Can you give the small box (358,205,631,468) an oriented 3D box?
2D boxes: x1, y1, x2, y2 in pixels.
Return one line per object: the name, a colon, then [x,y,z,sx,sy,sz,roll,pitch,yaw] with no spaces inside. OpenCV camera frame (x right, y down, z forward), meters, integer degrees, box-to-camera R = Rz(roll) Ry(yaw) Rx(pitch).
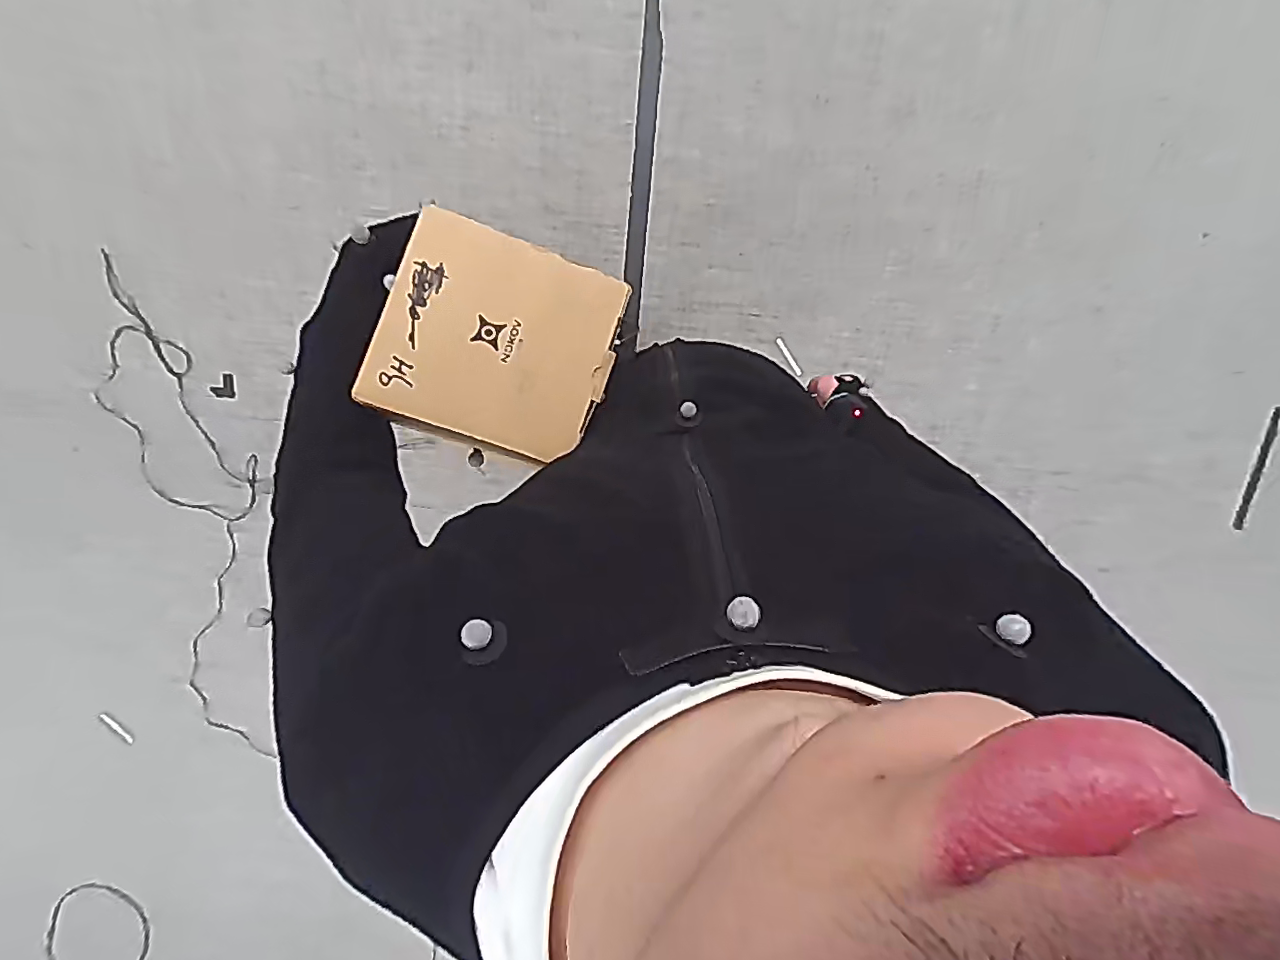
small box: [-0.129,-0.114,0.513,0.179,0.176,0.168,19,84,-11]
